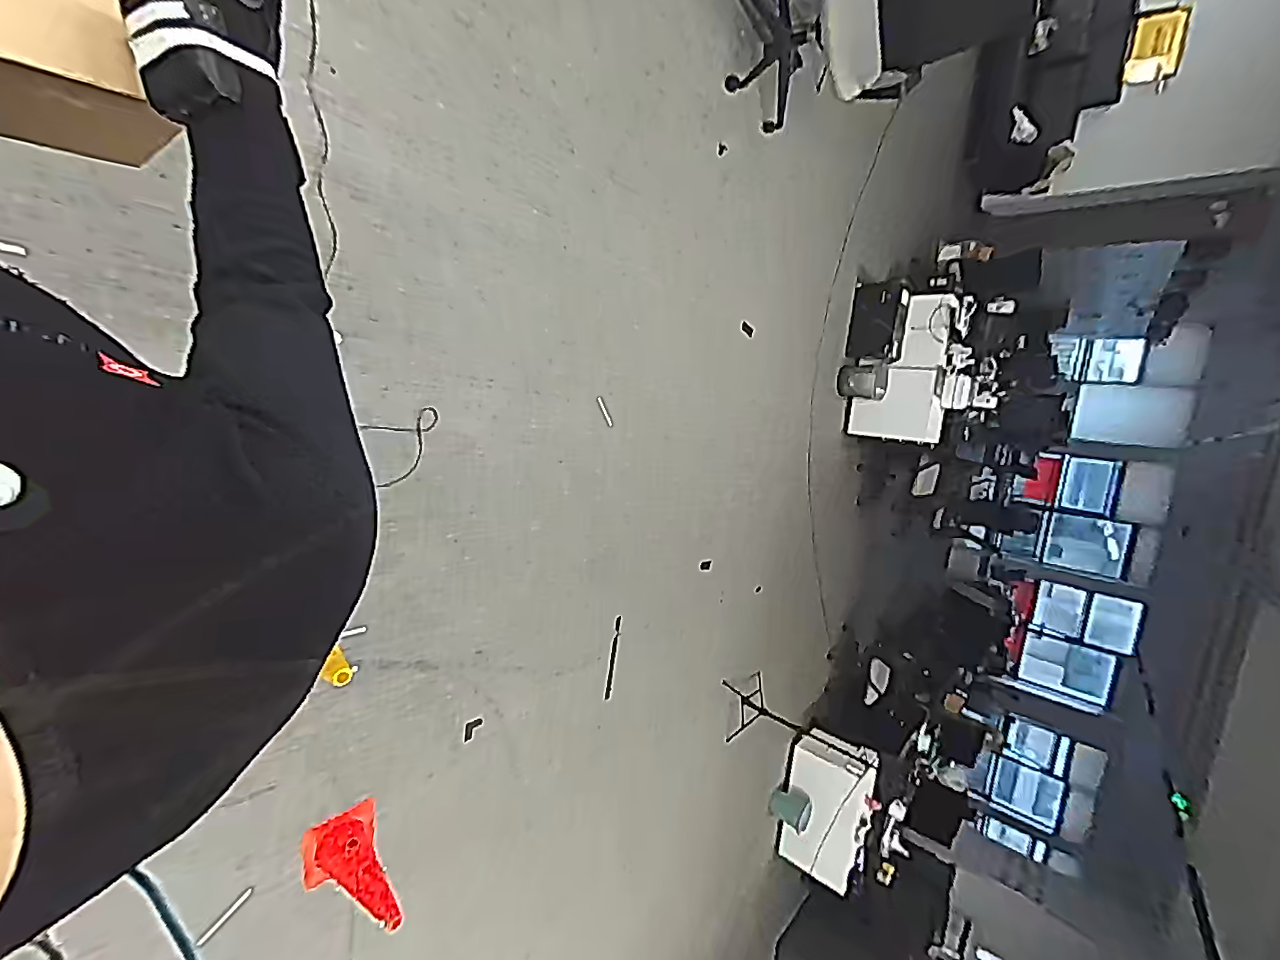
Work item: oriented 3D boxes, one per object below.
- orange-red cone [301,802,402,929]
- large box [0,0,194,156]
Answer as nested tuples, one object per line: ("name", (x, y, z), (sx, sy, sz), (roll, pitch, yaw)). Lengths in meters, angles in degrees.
("orange-red cone", (-0.765, 1.109, 1.498), (0.198, 0.360, 0.199), (-5, 102, -50))
("large box", (-0.569, -0.440, 0.321), (0.408, 0.320, 0.320), (-11, 112, -48))
